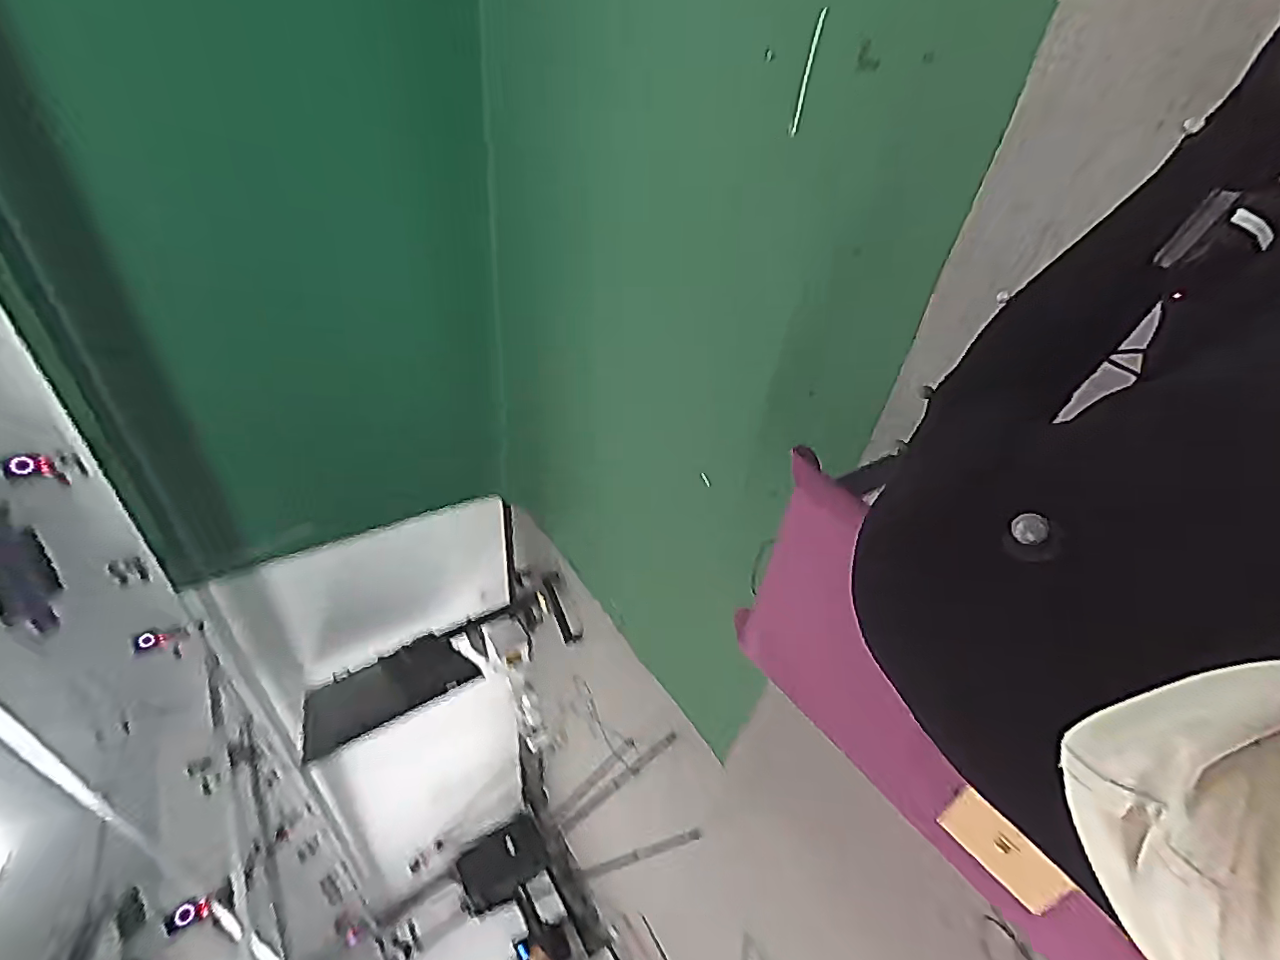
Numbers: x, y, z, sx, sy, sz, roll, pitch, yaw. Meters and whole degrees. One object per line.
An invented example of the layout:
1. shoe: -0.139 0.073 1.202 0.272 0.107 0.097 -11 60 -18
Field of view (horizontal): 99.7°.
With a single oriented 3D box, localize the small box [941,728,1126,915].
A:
1. small box: 0.651 0.559 0.899 0.168 0.176 0.179 40 137 40
